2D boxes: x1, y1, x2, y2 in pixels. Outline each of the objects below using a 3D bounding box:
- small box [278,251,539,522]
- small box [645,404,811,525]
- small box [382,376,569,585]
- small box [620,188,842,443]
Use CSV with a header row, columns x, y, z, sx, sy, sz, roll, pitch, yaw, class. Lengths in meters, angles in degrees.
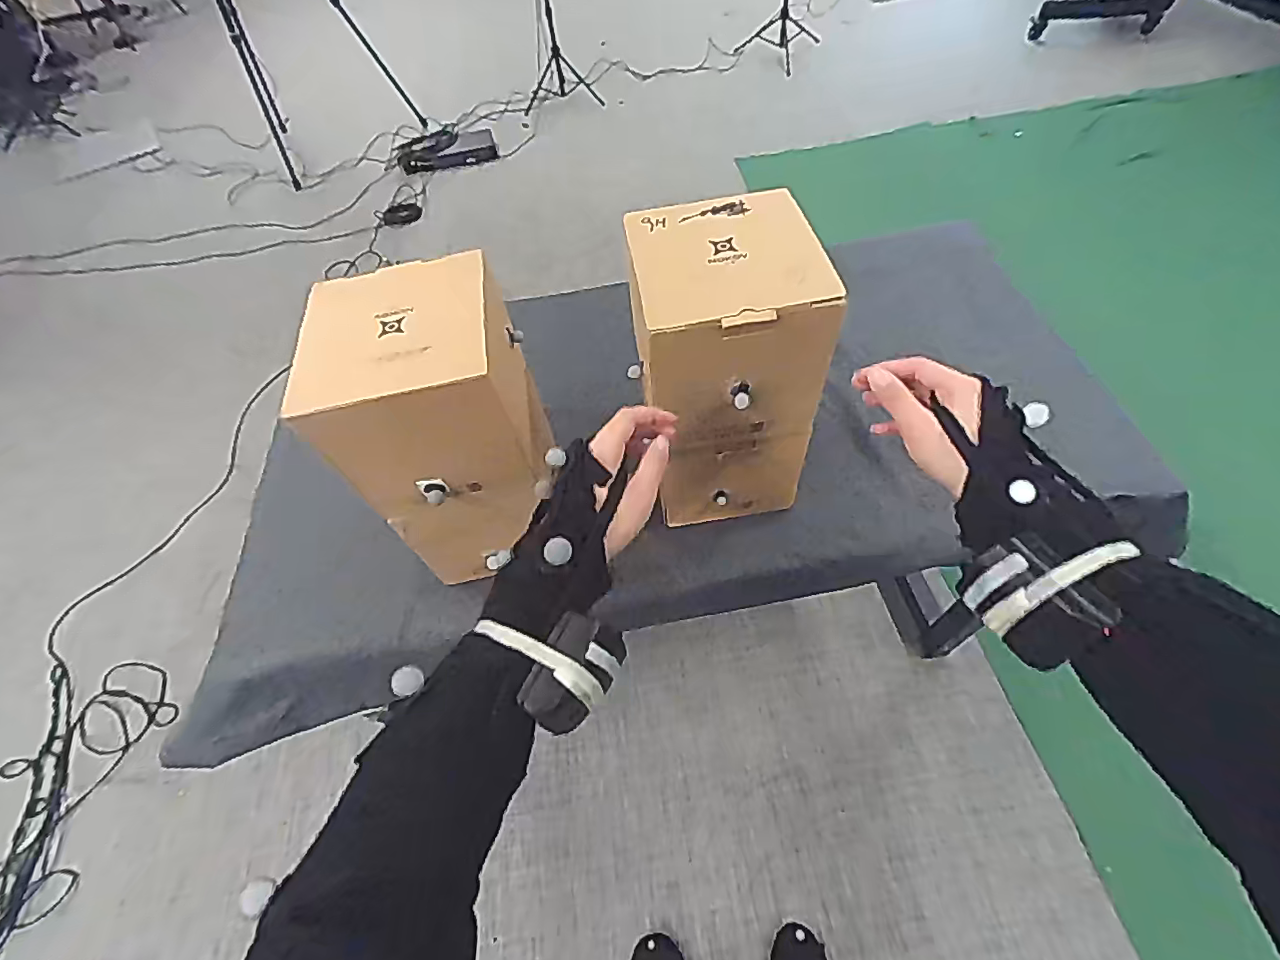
x,y,z,sx,sy,sz,roll,pitch,yaw,class
-0.204,-0.086,0.526,0.168,0.176,0.179,-13,57,-1,small box
0.095,-0.067,0.679,0.168,0.176,0.179,-10,56,0,small box
-0.189,0.004,0.660,0.168,0.176,0.179,-12,56,-2,small box
0.079,-0.153,0.541,0.168,0.176,0.179,-10,57,-1,small box
